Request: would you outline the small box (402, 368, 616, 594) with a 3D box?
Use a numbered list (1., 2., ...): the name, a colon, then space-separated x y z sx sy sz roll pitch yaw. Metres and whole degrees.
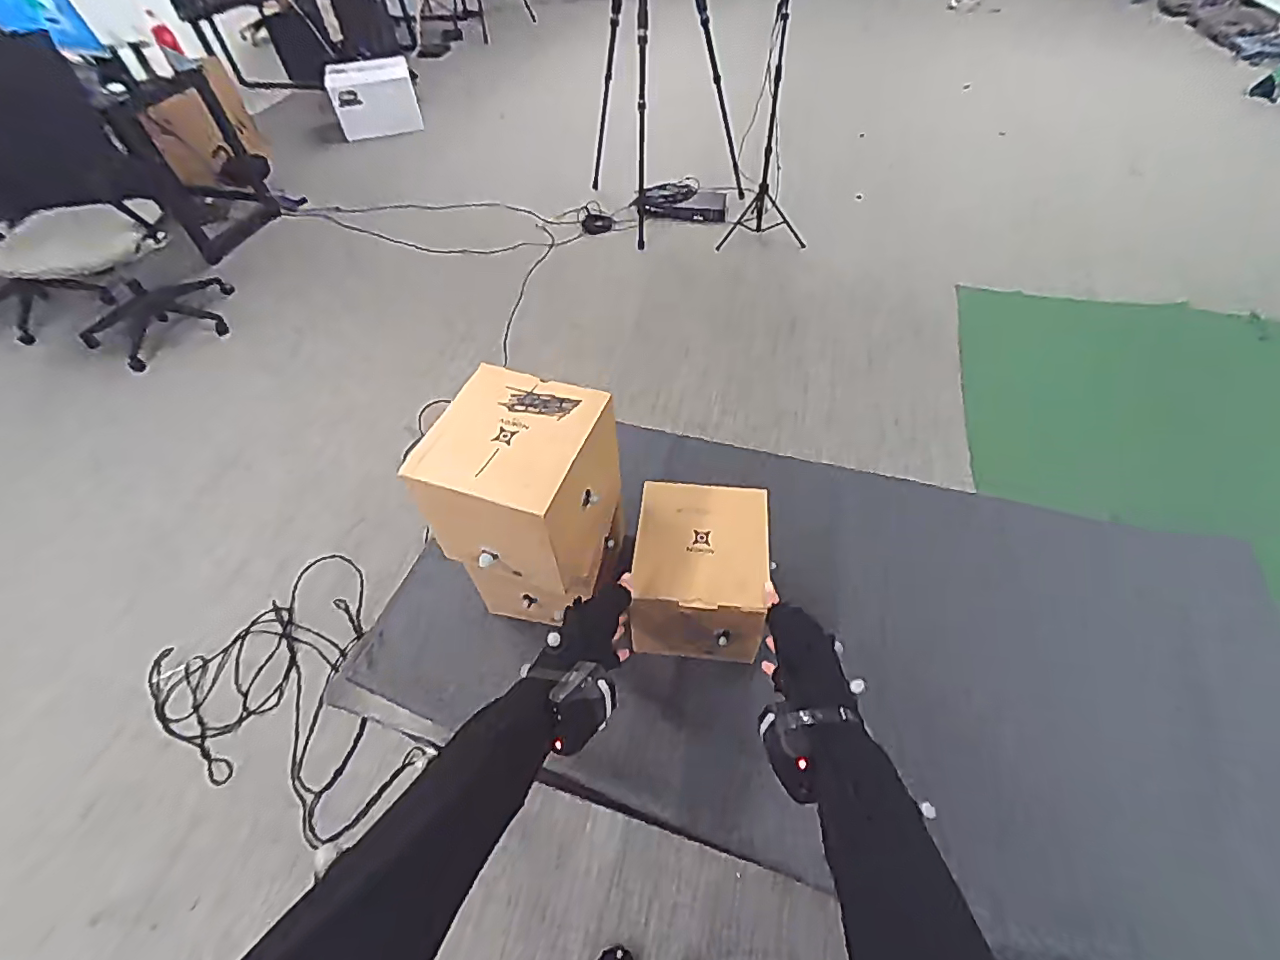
1. small box: -0.133 0.002 0.629 0.168 0.176 0.179 15 54 13
